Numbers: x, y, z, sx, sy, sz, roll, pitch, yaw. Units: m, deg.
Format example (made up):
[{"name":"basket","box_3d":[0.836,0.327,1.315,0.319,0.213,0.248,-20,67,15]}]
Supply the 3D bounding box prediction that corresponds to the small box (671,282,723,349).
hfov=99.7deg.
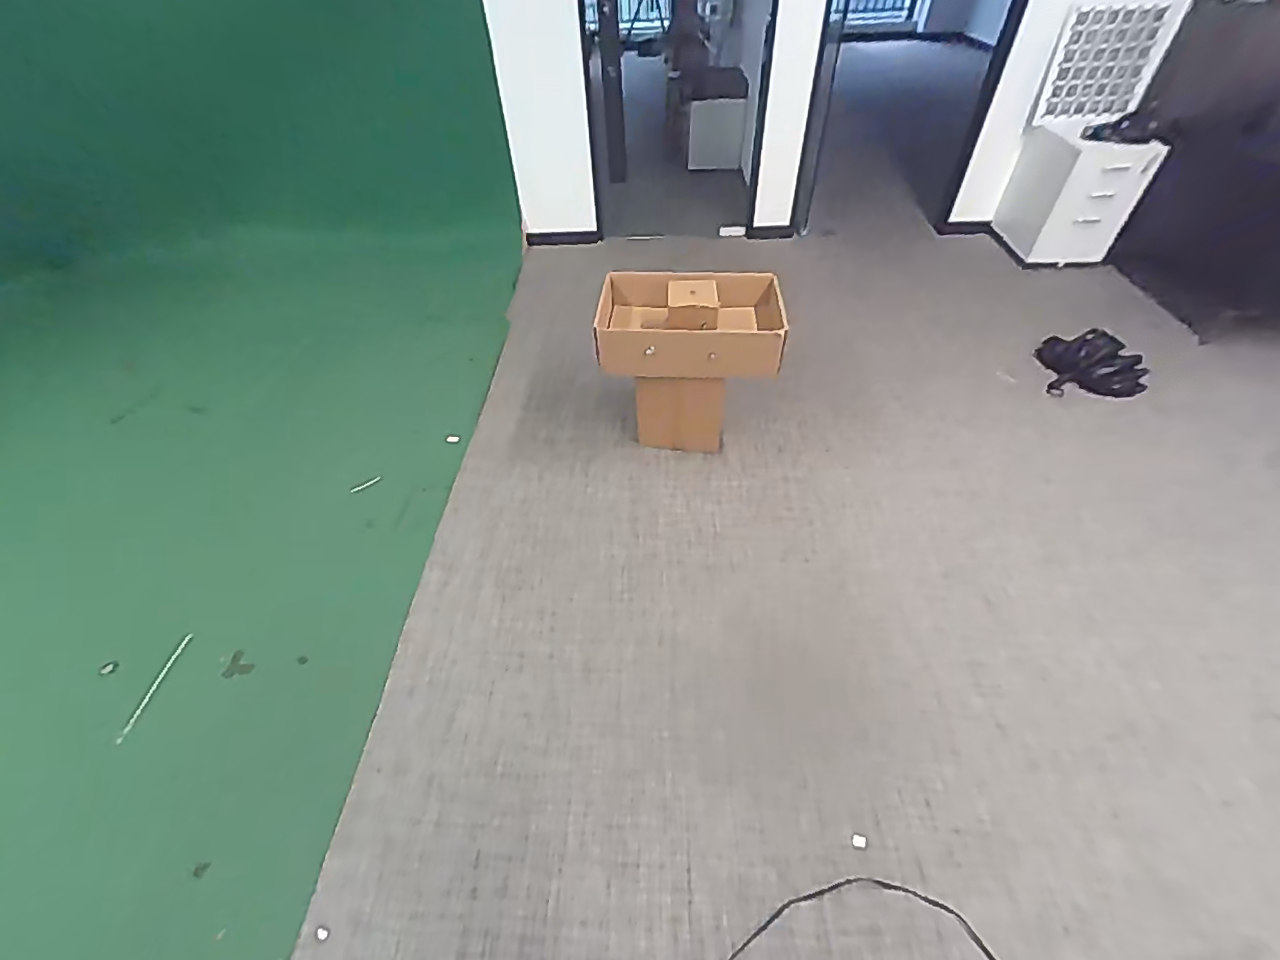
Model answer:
[{"name":"small box","box_3d":[0.194,-0.566,1.871,0.168,0.176,0.179,1,45,2]}]
